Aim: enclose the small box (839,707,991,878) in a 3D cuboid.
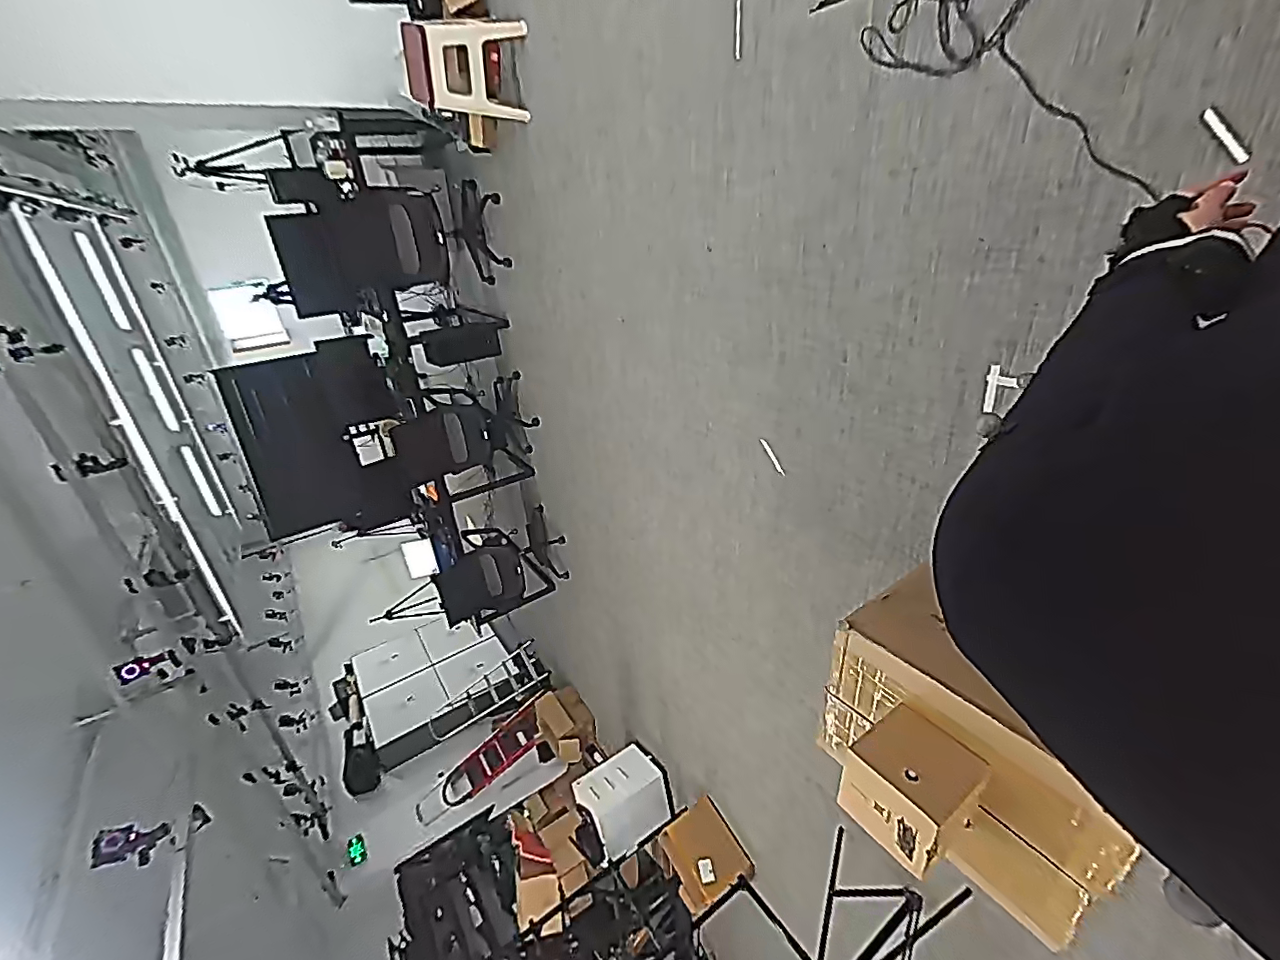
[{"bbox_3d":[0.496,0.554,0.983,0.179,0.176,0.168,33,135,49],"label":"small box"}]
